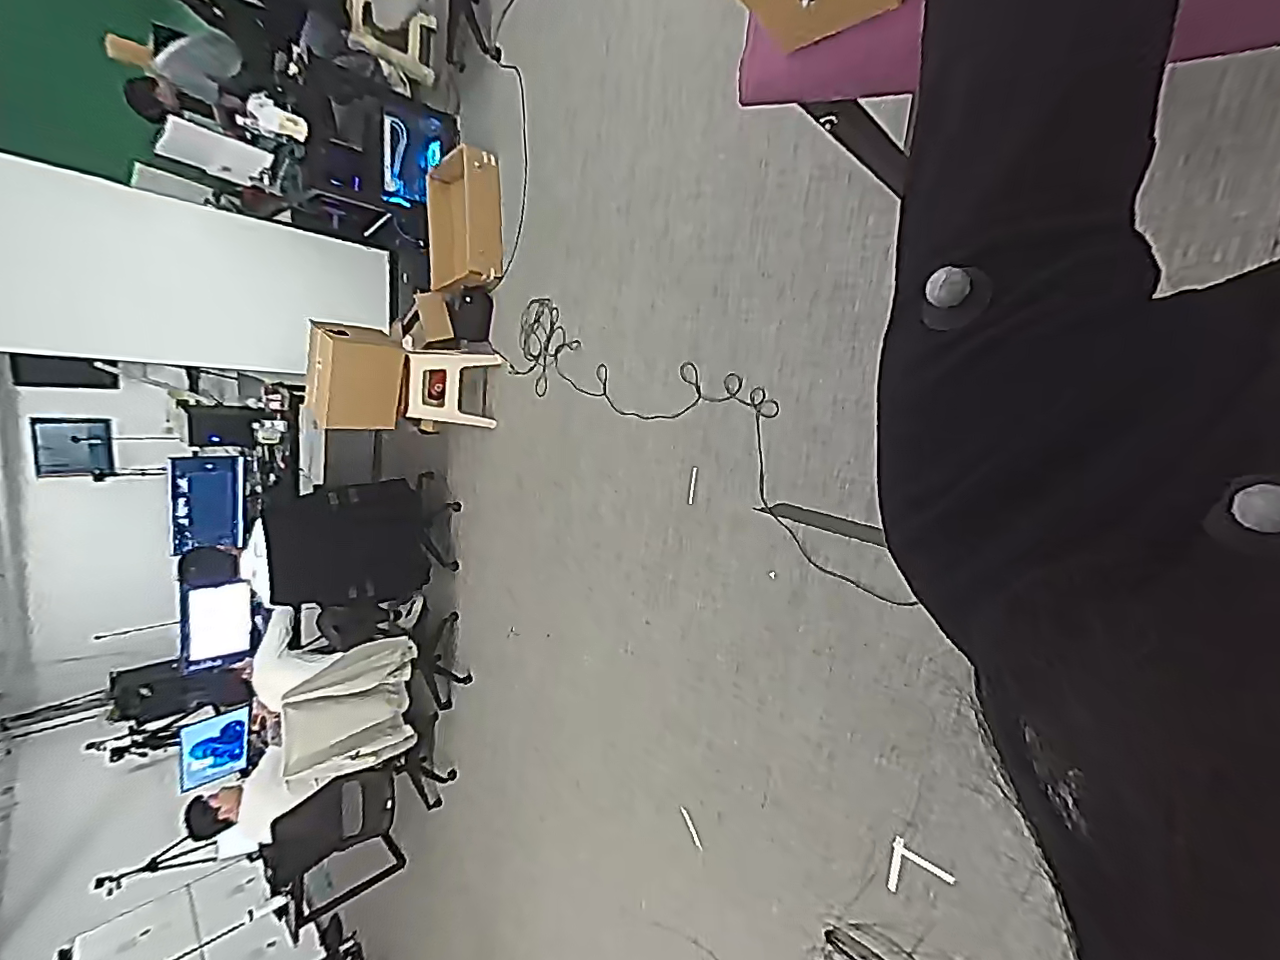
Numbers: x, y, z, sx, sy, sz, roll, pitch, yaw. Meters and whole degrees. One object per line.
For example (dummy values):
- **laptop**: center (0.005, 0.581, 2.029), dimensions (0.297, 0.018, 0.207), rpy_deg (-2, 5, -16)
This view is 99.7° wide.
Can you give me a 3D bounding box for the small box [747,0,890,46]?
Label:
- **small box**: center (0.248, -0.735, 0.716), dimensions (0.179, 0.176, 0.168), rpy_deg (9, 98, 42)
